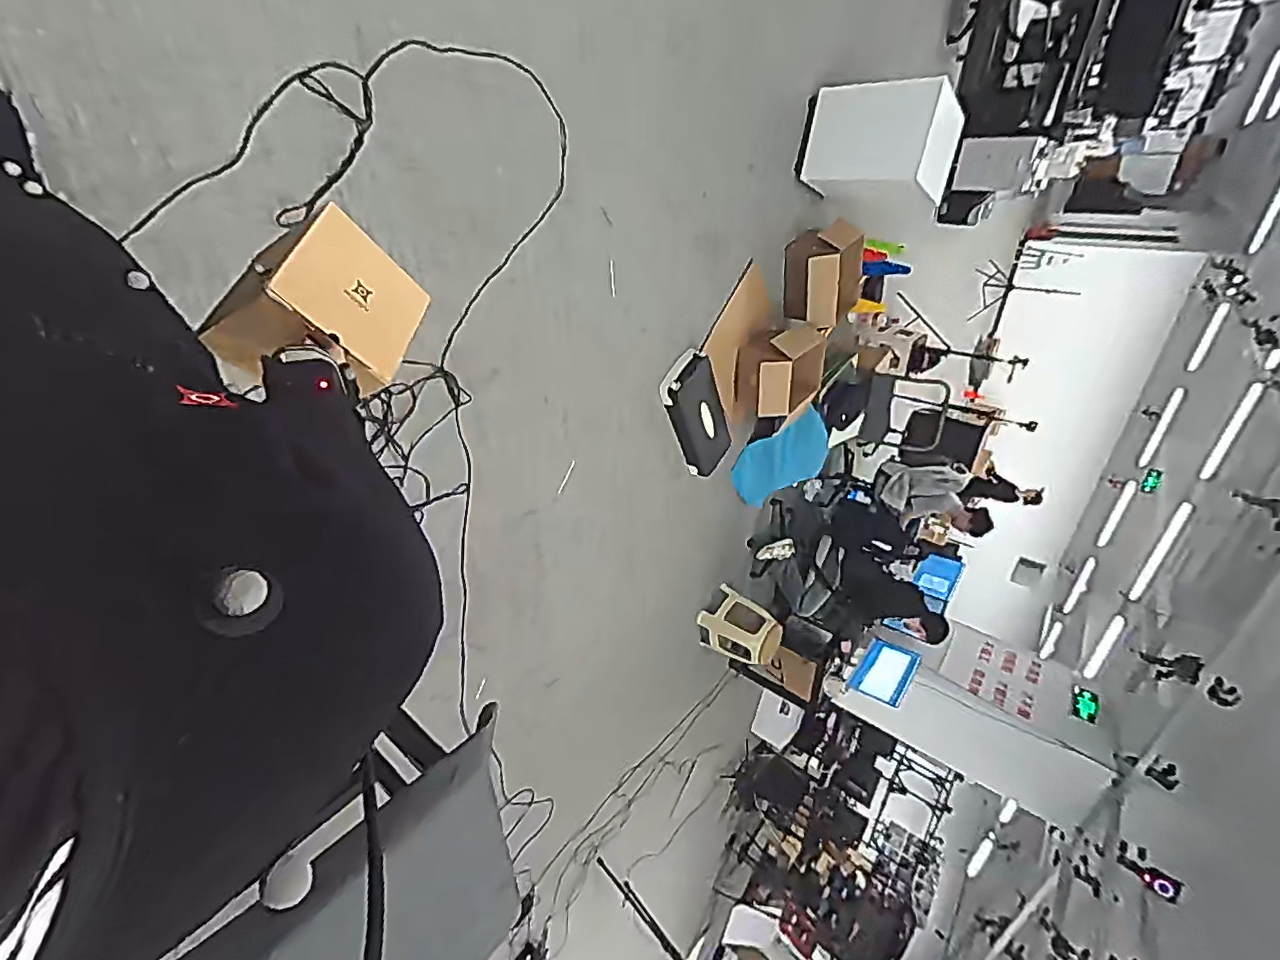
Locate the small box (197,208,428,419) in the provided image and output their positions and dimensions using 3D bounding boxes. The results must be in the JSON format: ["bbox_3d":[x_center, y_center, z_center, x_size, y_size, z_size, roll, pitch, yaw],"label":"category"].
[{"bbox_3d":[-0.420,-0.208,0.706,0.168,0.176,0.179,48,38,-44],"label":"small box"}]
